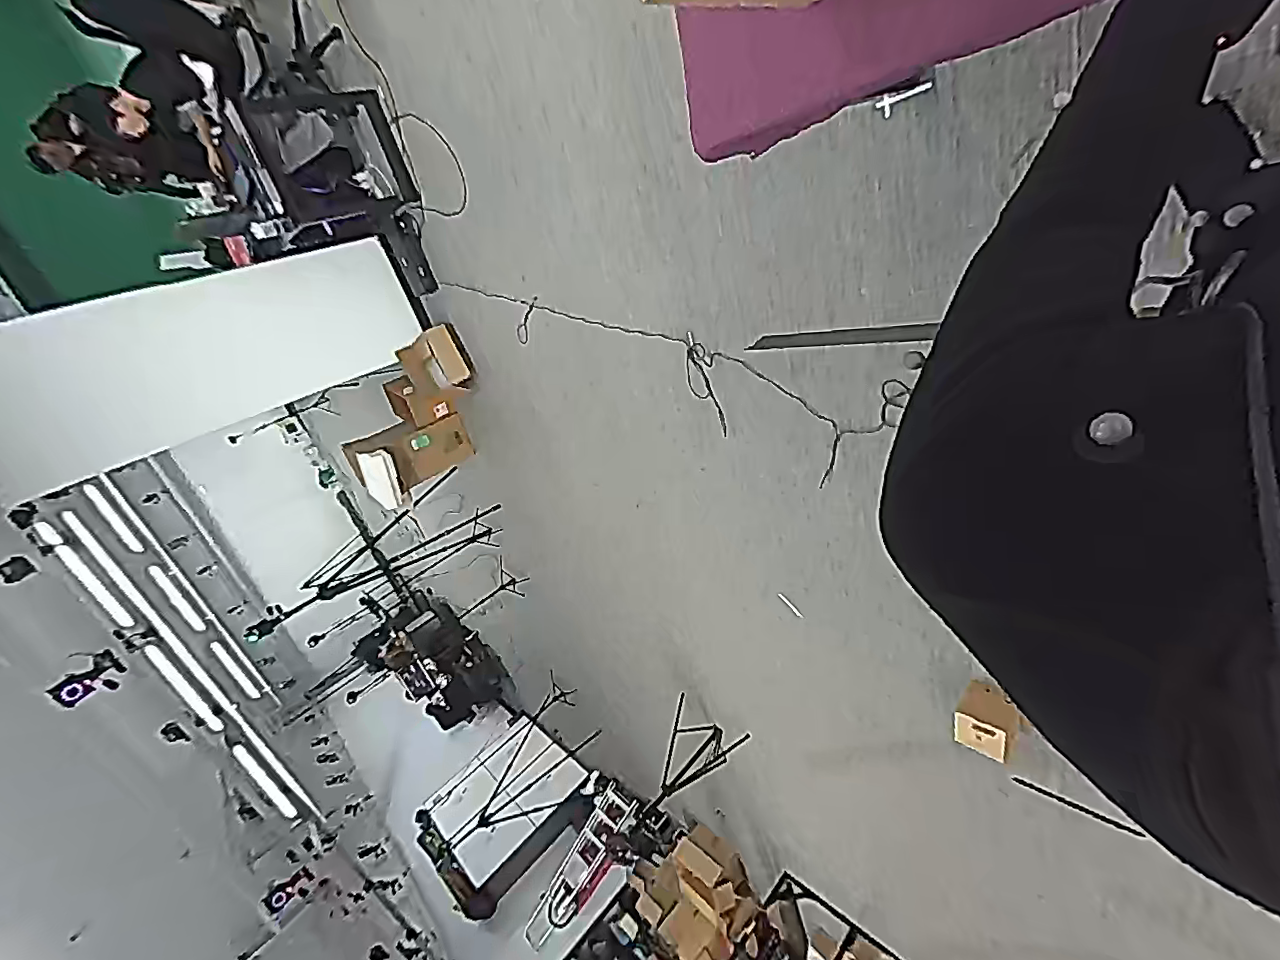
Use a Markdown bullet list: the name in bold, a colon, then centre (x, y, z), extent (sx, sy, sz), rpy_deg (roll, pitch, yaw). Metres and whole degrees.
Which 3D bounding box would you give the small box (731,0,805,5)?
- **small box**: centre (0.208, -0.688, 0.621), extent (0.179, 0.176, 0.168), rpy_deg (13, 128, 46)

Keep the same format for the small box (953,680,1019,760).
- **small box**: centre (1.285, 0.884, 2.008), extent (0.168, 0.176, 0.179), rpy_deg (15, 131, 46)
